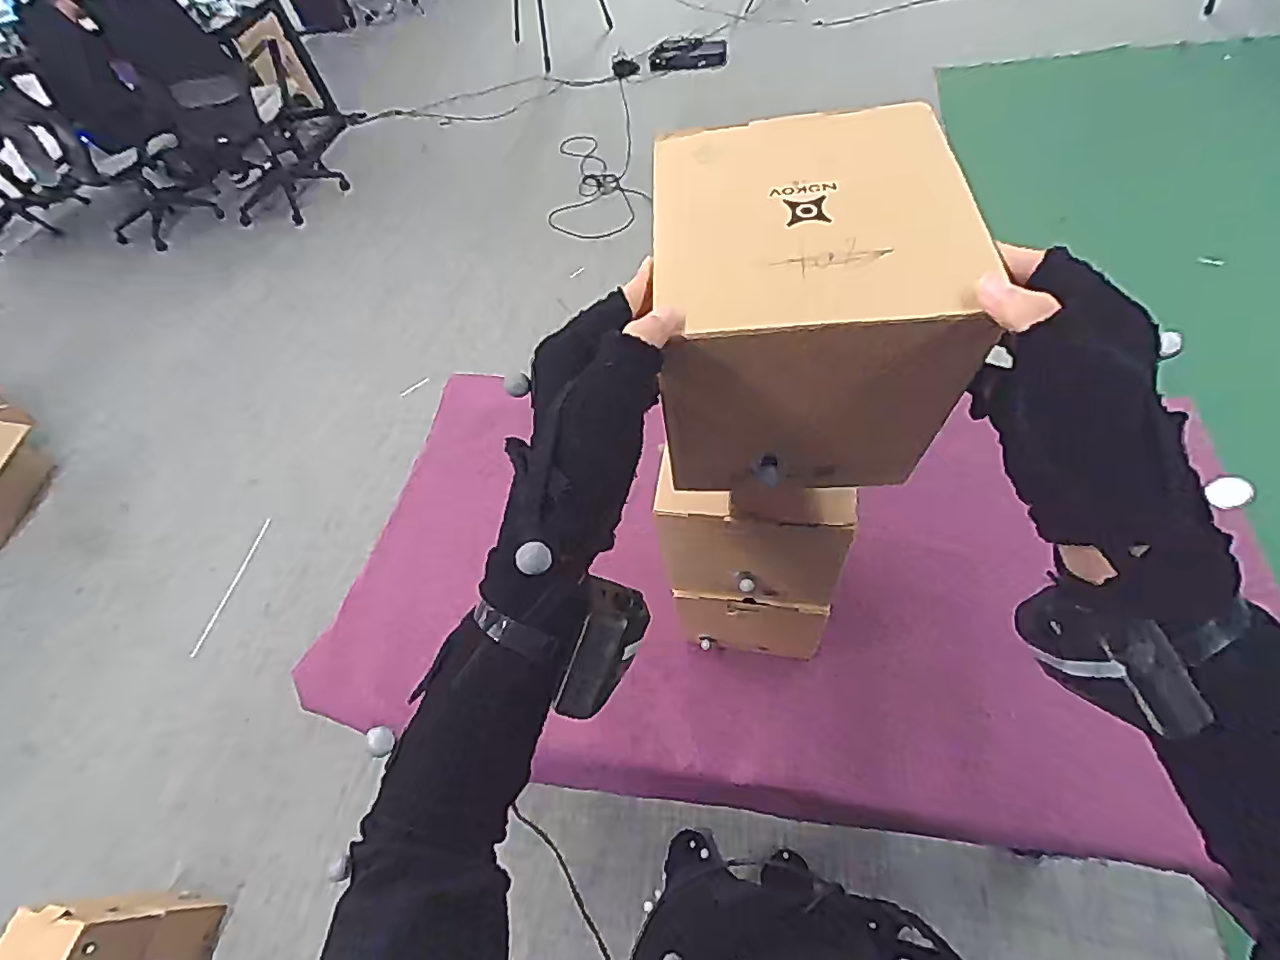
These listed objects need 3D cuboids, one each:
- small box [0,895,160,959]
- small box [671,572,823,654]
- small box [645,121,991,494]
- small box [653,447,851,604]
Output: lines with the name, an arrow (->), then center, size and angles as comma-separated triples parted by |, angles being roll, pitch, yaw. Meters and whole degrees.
small box -> -1.099, 0.929, 1.043 | 0.168, 0.176, 0.179 | 2, 56, 11
small box -> 0.142, 0.106, 0.686 | 0.168, 0.176, 0.179 | 5, 56, 13
small box -> 0.095, -0.106, 0.370 | 0.168, 0.176, 0.179 | -2, 61, 7
small box -> 0.117, 0.007, 0.557 | 0.168, 0.176, 0.179 | 4, 57, 14
